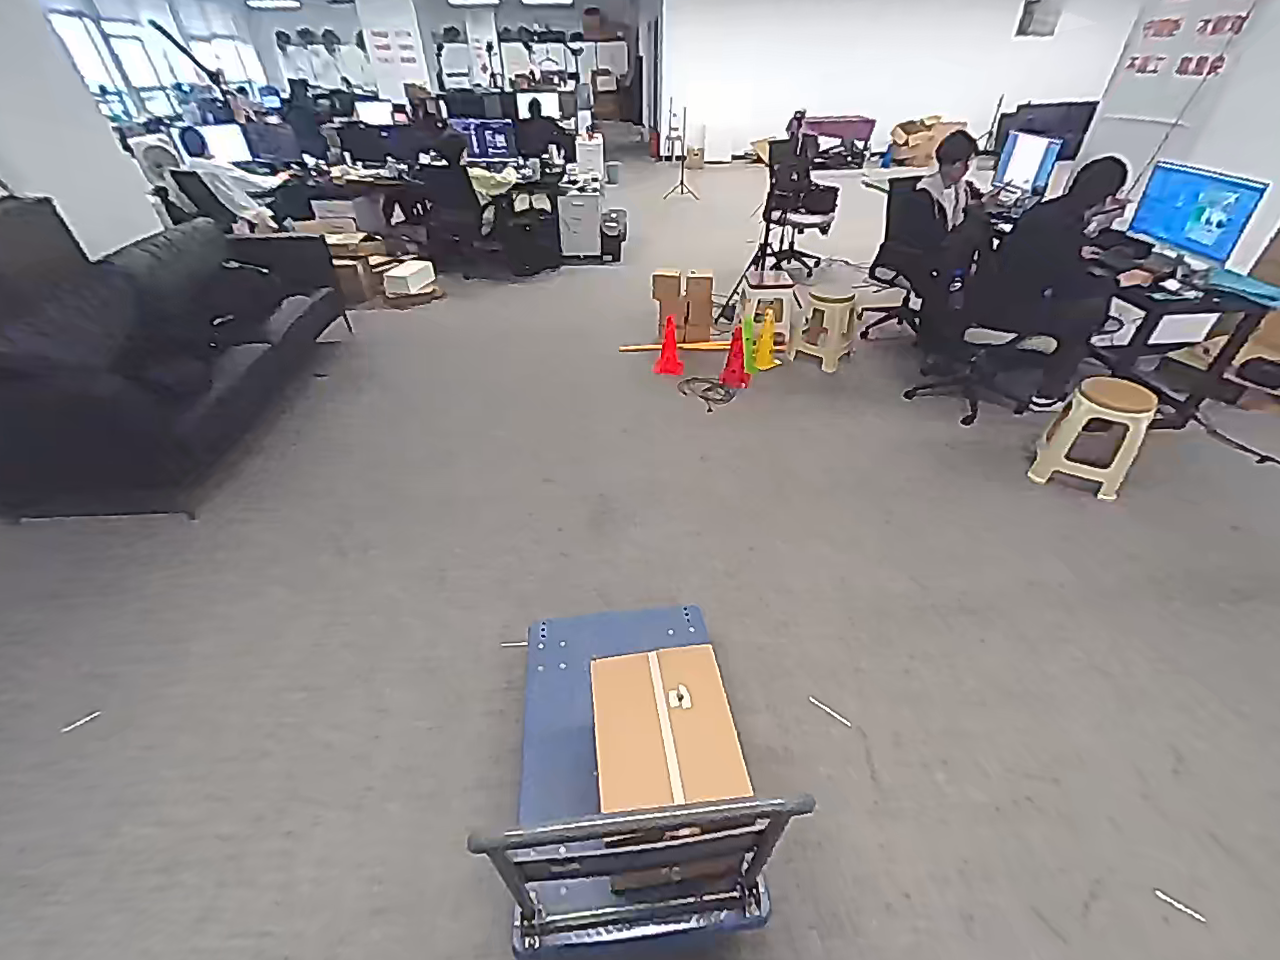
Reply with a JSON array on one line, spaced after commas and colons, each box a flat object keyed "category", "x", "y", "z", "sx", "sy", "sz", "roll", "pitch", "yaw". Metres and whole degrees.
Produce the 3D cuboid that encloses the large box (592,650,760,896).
[{"category": "large box", "x": 0.065, "y": 0.688, "z": 1.299, "sx": 0.320, "sy": 0.320, "sz": 0.408, "roll": -5, "pitch": 37, "yaw": -6}]
